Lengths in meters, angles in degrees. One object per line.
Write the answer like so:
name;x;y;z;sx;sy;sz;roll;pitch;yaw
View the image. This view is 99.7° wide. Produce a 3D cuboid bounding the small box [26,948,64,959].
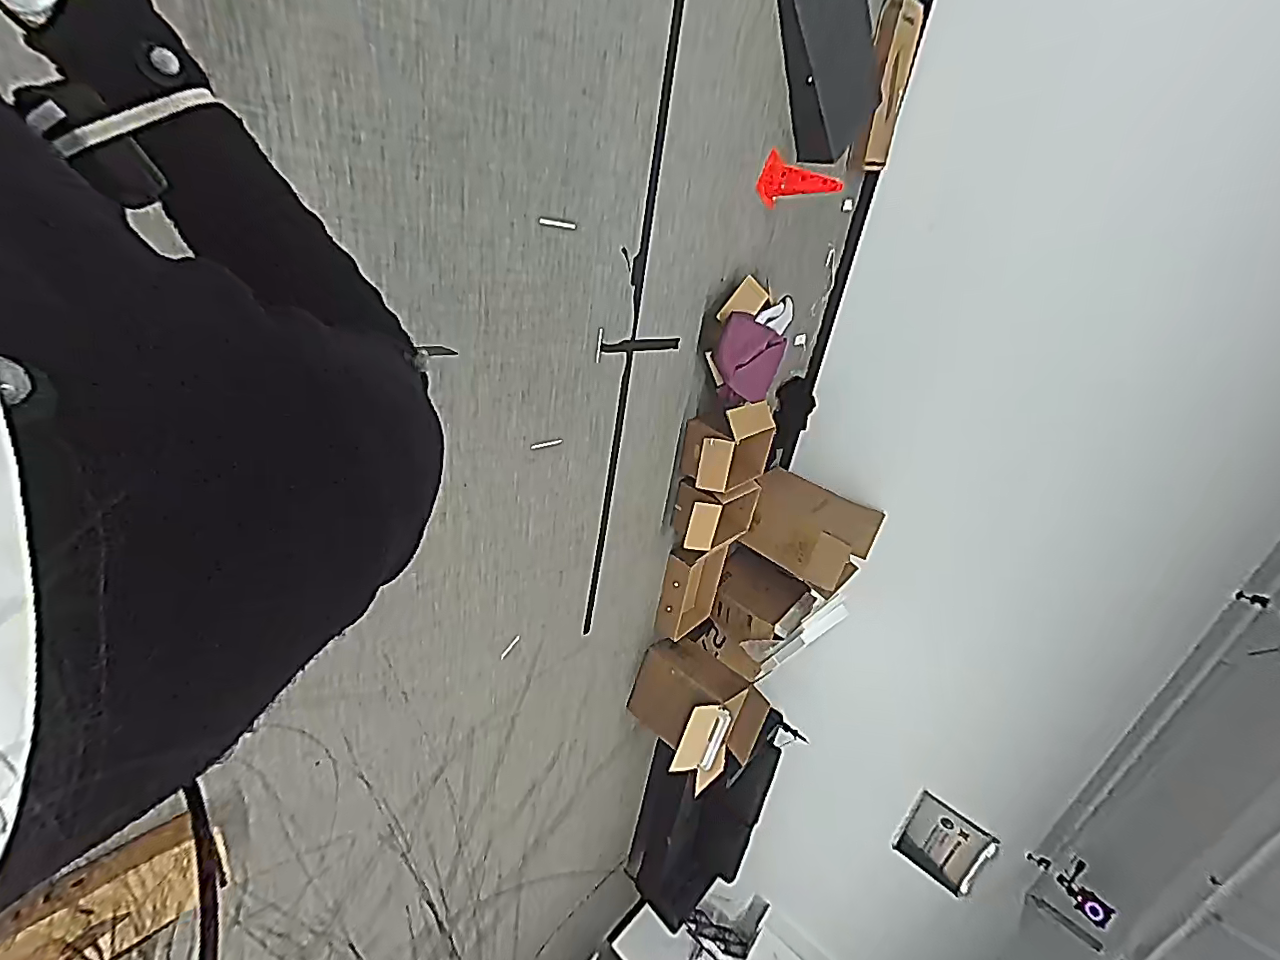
small box;-1.519;1.313;1.325;0.168;0.176;0.179;-22;130;-45
